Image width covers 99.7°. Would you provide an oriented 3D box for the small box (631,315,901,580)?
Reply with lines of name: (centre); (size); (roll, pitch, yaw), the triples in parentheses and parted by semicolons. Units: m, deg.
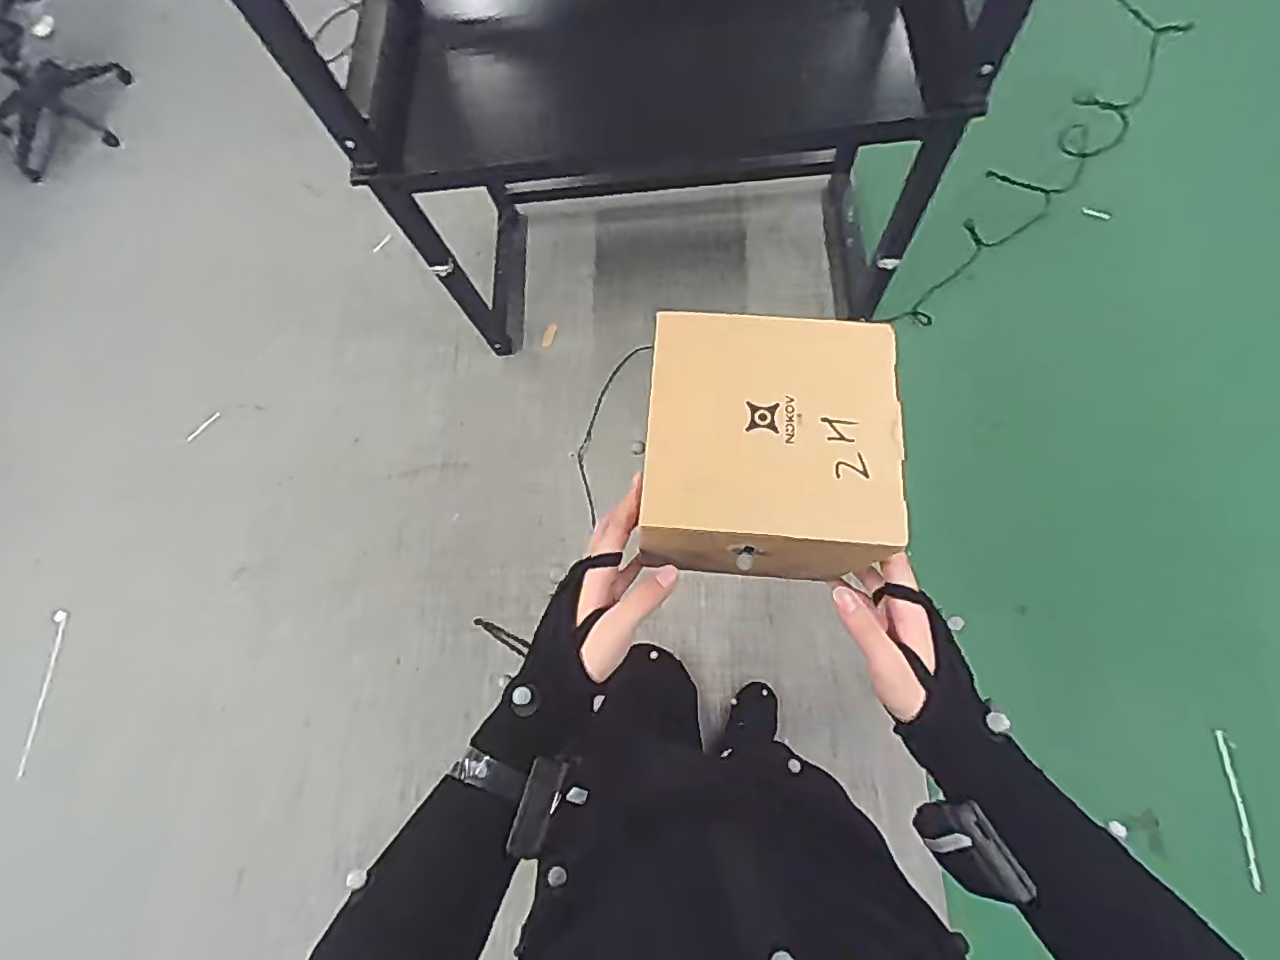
small box: (0.089, -0.014, 0.447); (0.179, 0.176, 0.168); (4, 72, 2)
